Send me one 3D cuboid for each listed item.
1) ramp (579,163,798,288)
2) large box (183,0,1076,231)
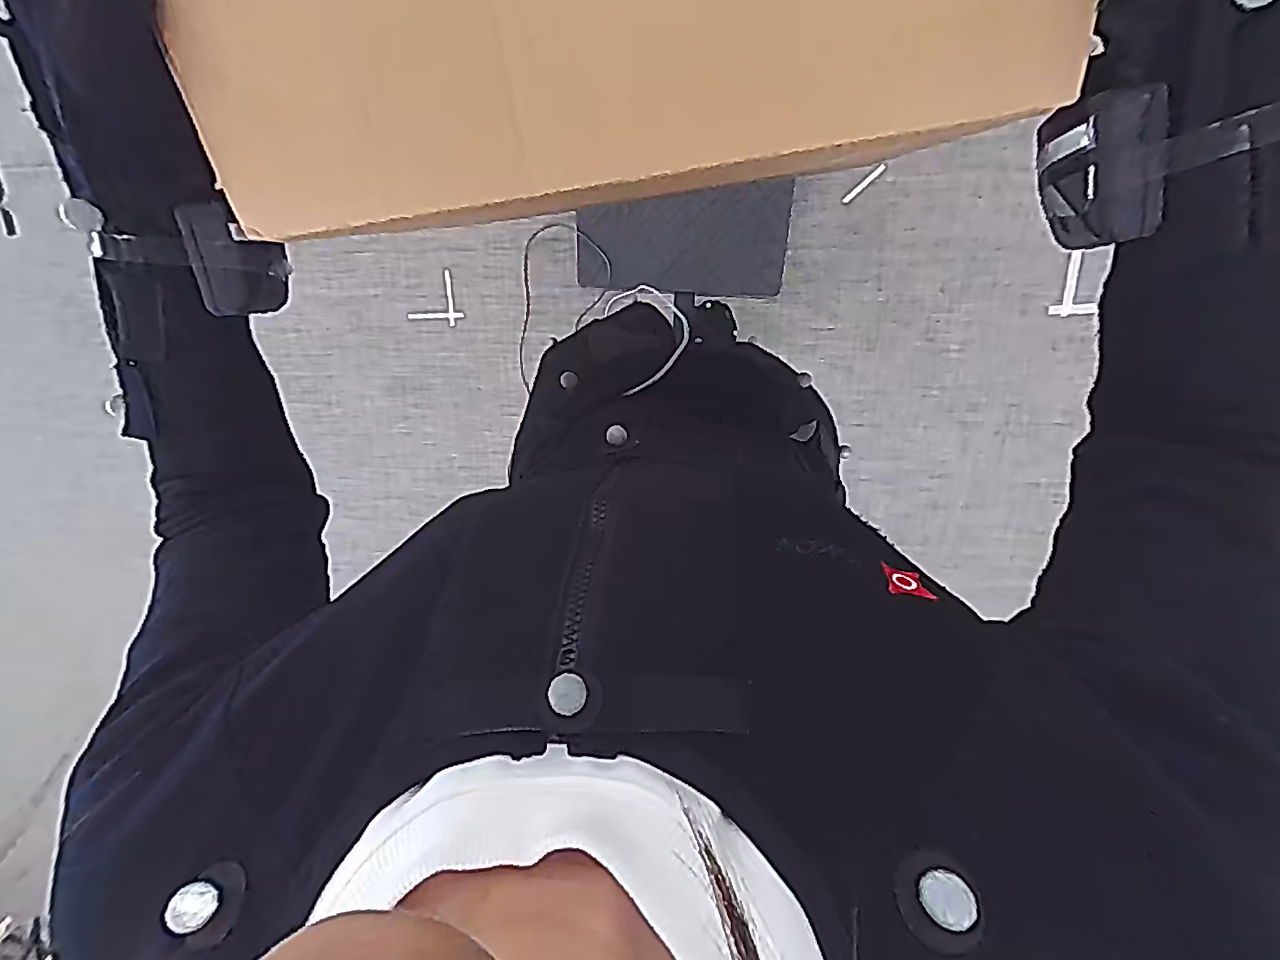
[{"bbox_3d":[0.105,-0.911,1.072,0.509,0.206,0.991,3,109,6],"label":"ramp"},{"bbox_3d":[-0.016,-0.360,0.339,0.408,0.320,0.320,-5,117,10],"label":"large box"}]
